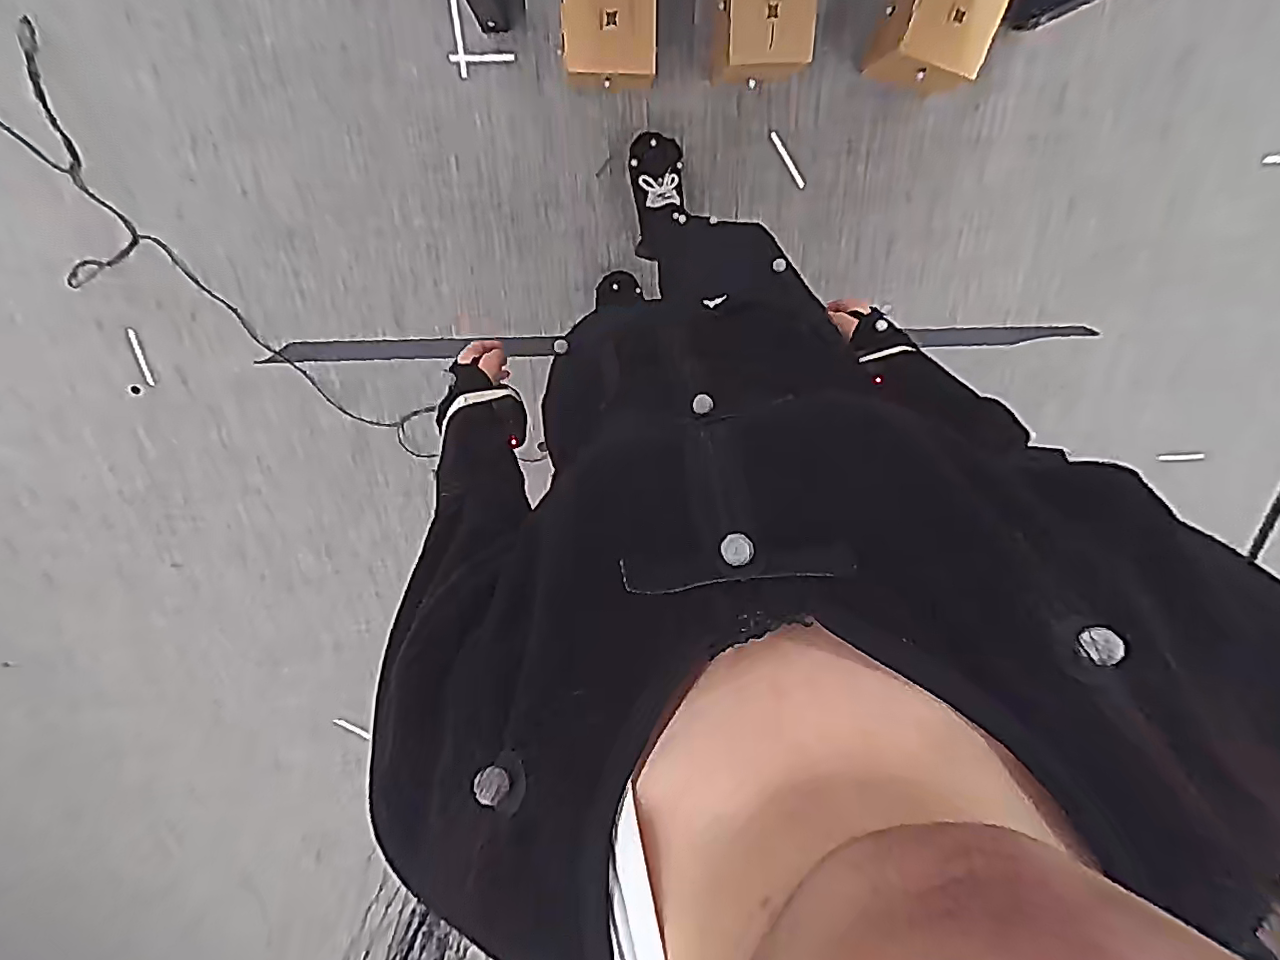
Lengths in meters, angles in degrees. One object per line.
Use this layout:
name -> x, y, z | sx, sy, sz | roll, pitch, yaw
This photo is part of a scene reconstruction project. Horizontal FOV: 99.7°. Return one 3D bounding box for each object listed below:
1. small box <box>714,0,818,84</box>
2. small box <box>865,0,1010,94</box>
small box -> 0.243, -0.912, 1.071 | 0.168, 0.176, 0.179 | -4, 116, -3
small box -> 0.598, -0.917, 1.100 | 0.179, 0.176, 0.168 | 13, 114, -9
